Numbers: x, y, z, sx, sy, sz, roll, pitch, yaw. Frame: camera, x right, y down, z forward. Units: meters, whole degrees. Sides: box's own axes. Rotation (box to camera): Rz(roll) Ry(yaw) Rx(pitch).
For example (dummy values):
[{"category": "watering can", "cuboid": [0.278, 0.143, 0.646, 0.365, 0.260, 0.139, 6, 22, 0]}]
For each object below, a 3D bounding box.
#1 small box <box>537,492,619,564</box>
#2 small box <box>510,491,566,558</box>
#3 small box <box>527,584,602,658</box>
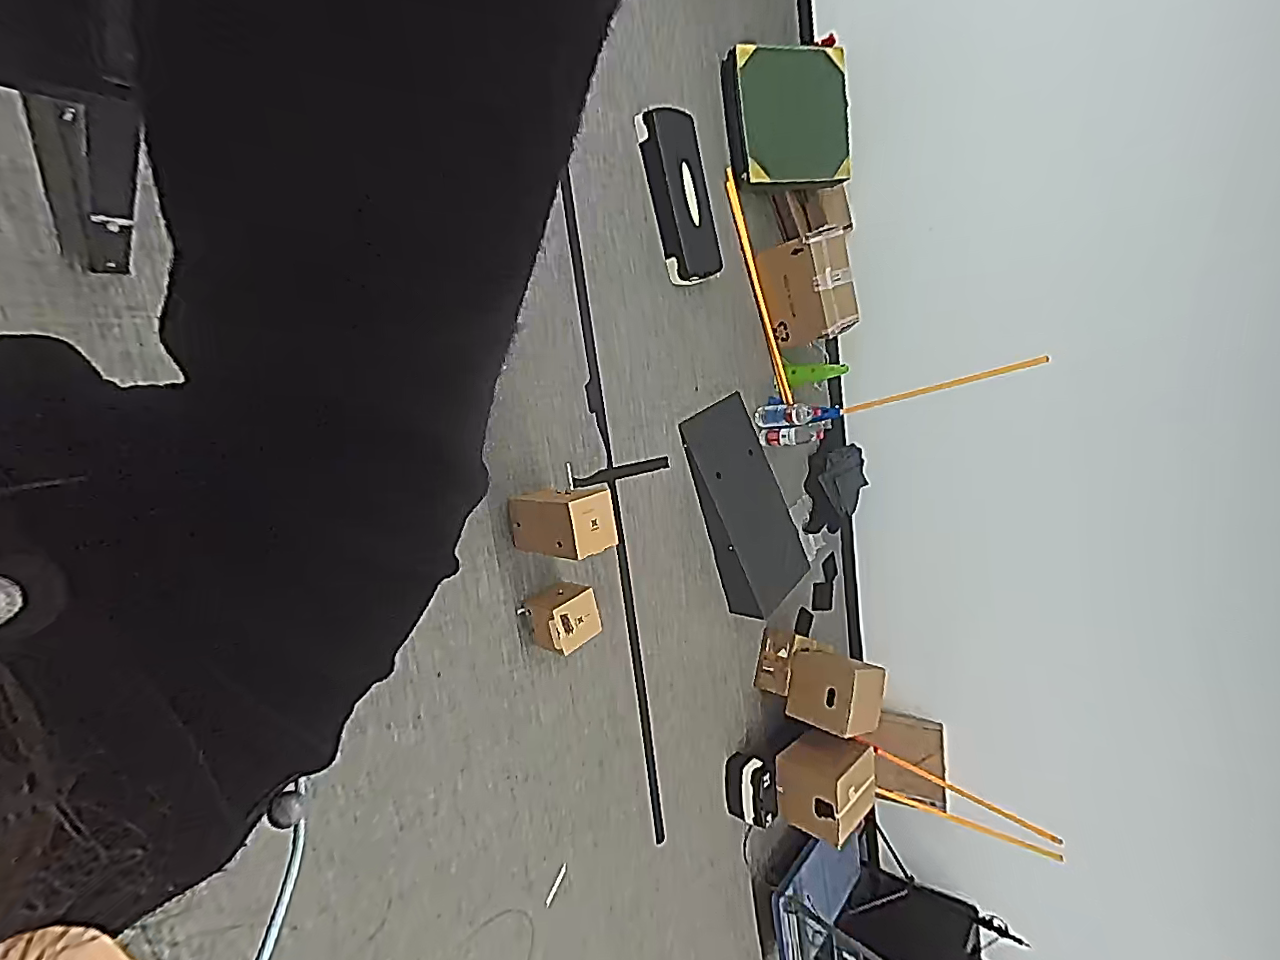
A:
[{"category": "small box", "cuboid": [-0.189, 0.139, 1.638, 0.168, 0.176, 0.179, -17, 102, -44]}, {"category": "small box", "cuboid": [-0.303, 0.138, 1.756, 0.168, 0.176, 0.179, -15, 102, -44]}, {"category": "small box", "cuboid": [-0.258, 0.466, 1.809, 0.179, 0.176, 0.168, -24, 108, -43]}]
